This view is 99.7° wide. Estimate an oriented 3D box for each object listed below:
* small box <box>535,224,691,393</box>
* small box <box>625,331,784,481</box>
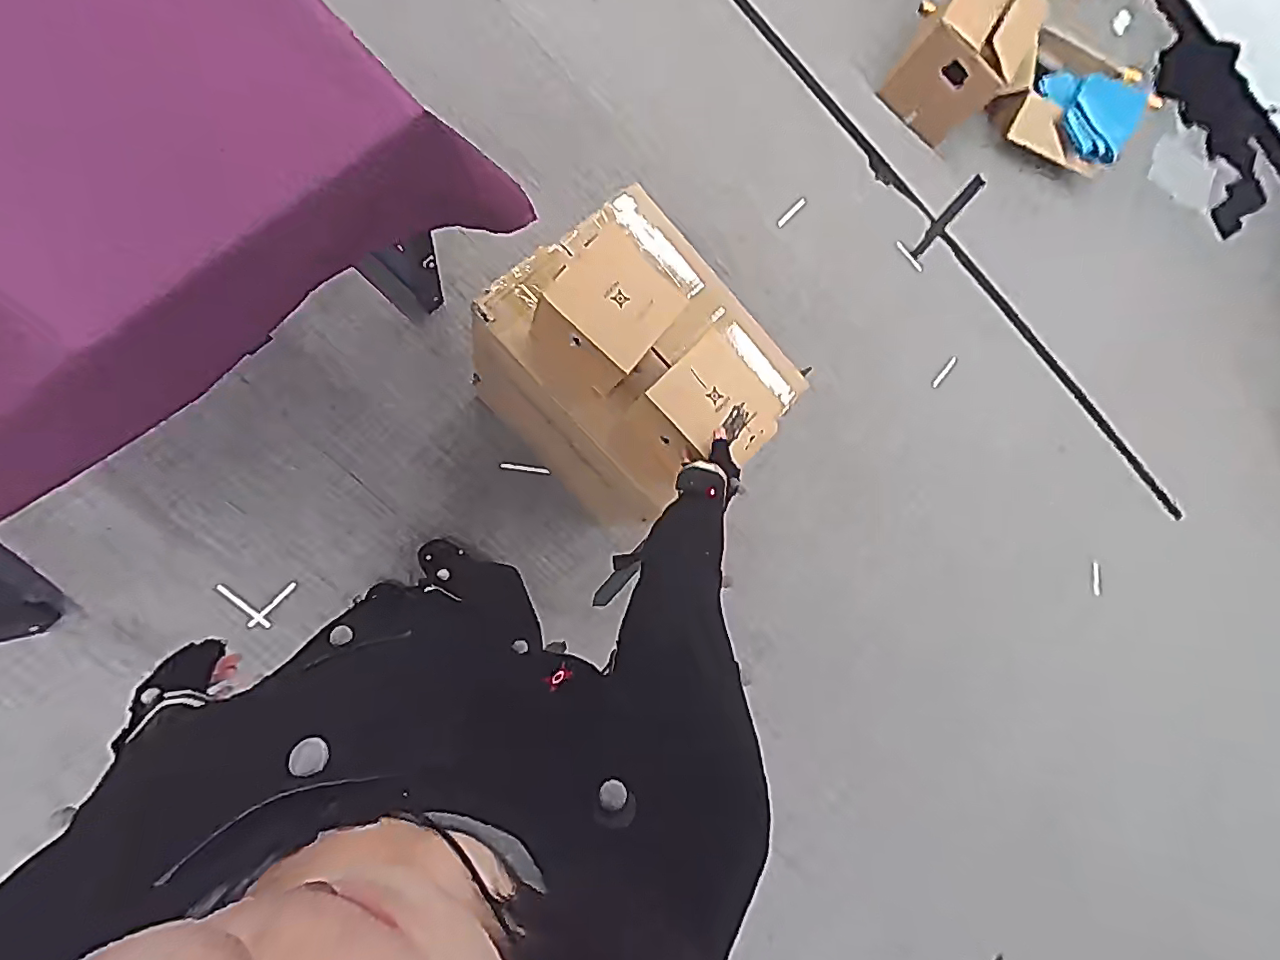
[{"bbox_3d":[-0.054,-0.268,0.891,0.179,0.176,0.168,42,76,-10],"label":"small box"},{"bbox_3d":[0.101,-0.113,0.918,0.179,0.176,0.168,46,74,-5],"label":"small box"}]
